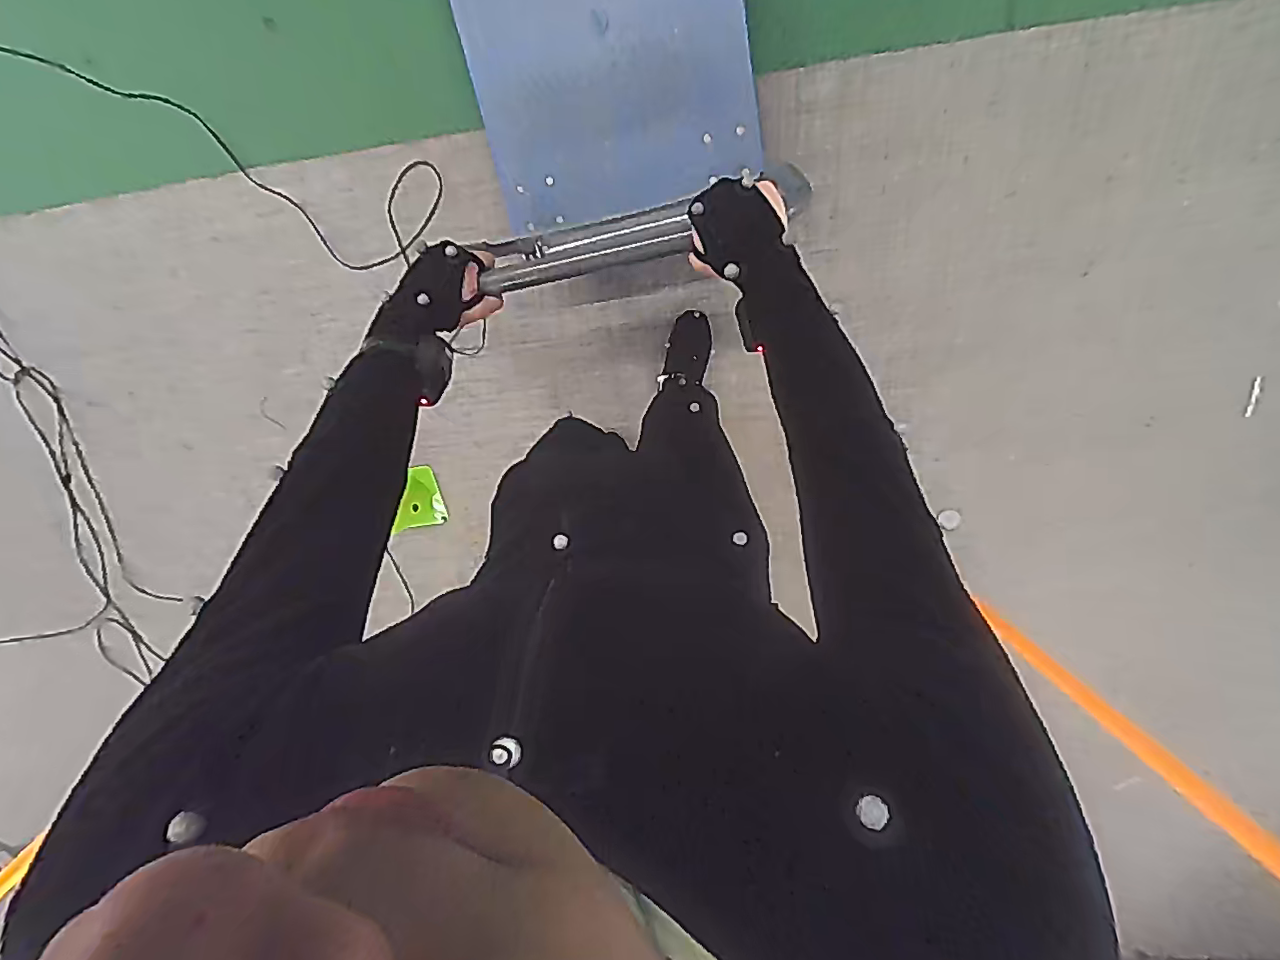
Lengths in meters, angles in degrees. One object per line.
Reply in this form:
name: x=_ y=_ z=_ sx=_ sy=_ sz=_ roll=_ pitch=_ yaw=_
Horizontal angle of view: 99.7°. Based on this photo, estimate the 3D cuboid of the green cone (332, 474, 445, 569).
green cone: x=-0.756 y=0.143 z=1.561 sx=0.202 sy=0.368 sz=0.200 roll=-8 pitch=111 yaw=10
